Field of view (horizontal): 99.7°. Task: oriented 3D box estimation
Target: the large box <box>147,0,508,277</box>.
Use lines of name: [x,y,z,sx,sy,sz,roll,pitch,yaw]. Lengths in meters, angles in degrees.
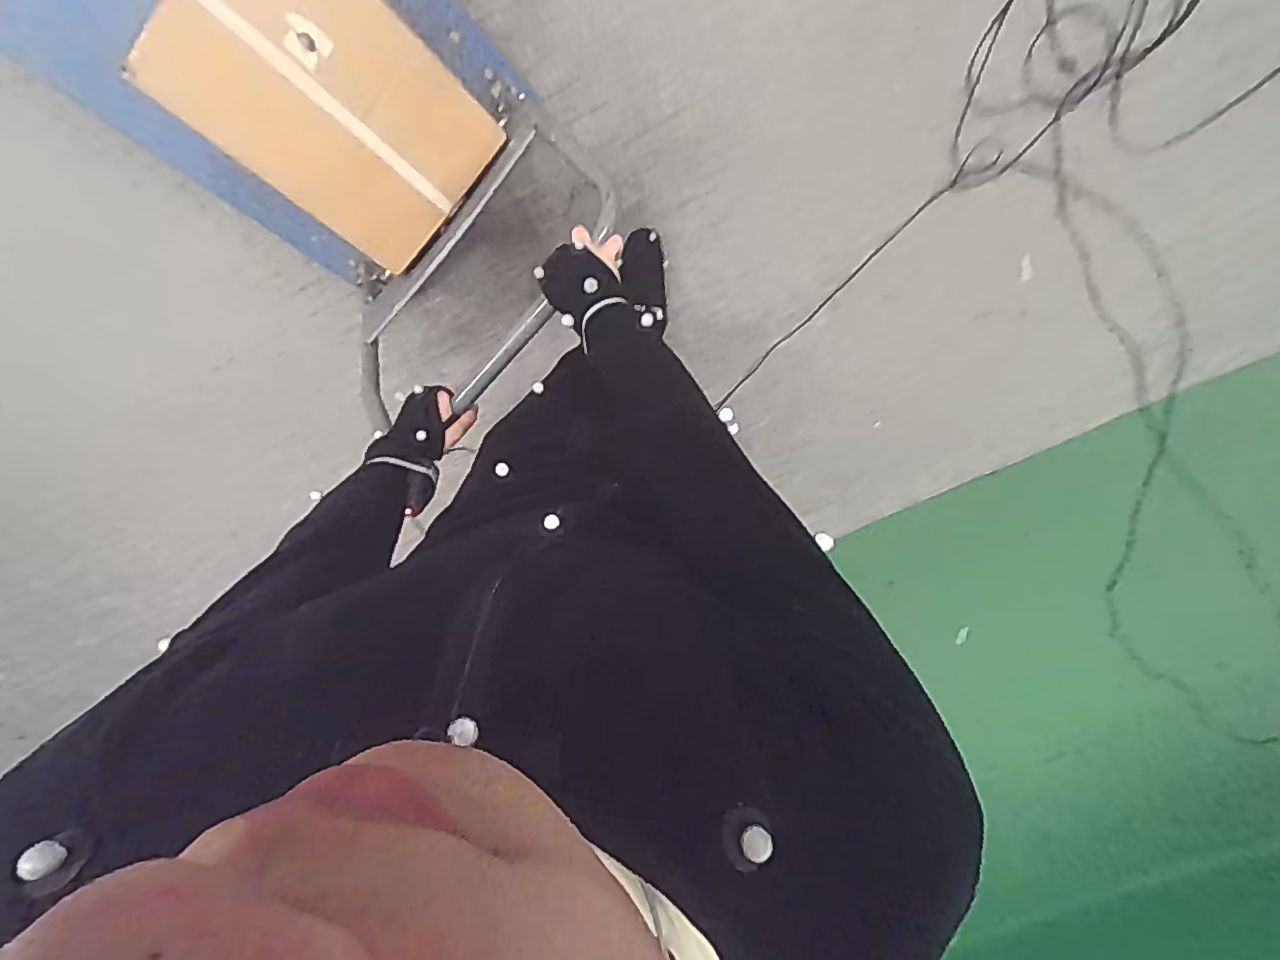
large box: [-0.495,-0.645,0.943,0.320,0.320,0.408,-43,131,15]
